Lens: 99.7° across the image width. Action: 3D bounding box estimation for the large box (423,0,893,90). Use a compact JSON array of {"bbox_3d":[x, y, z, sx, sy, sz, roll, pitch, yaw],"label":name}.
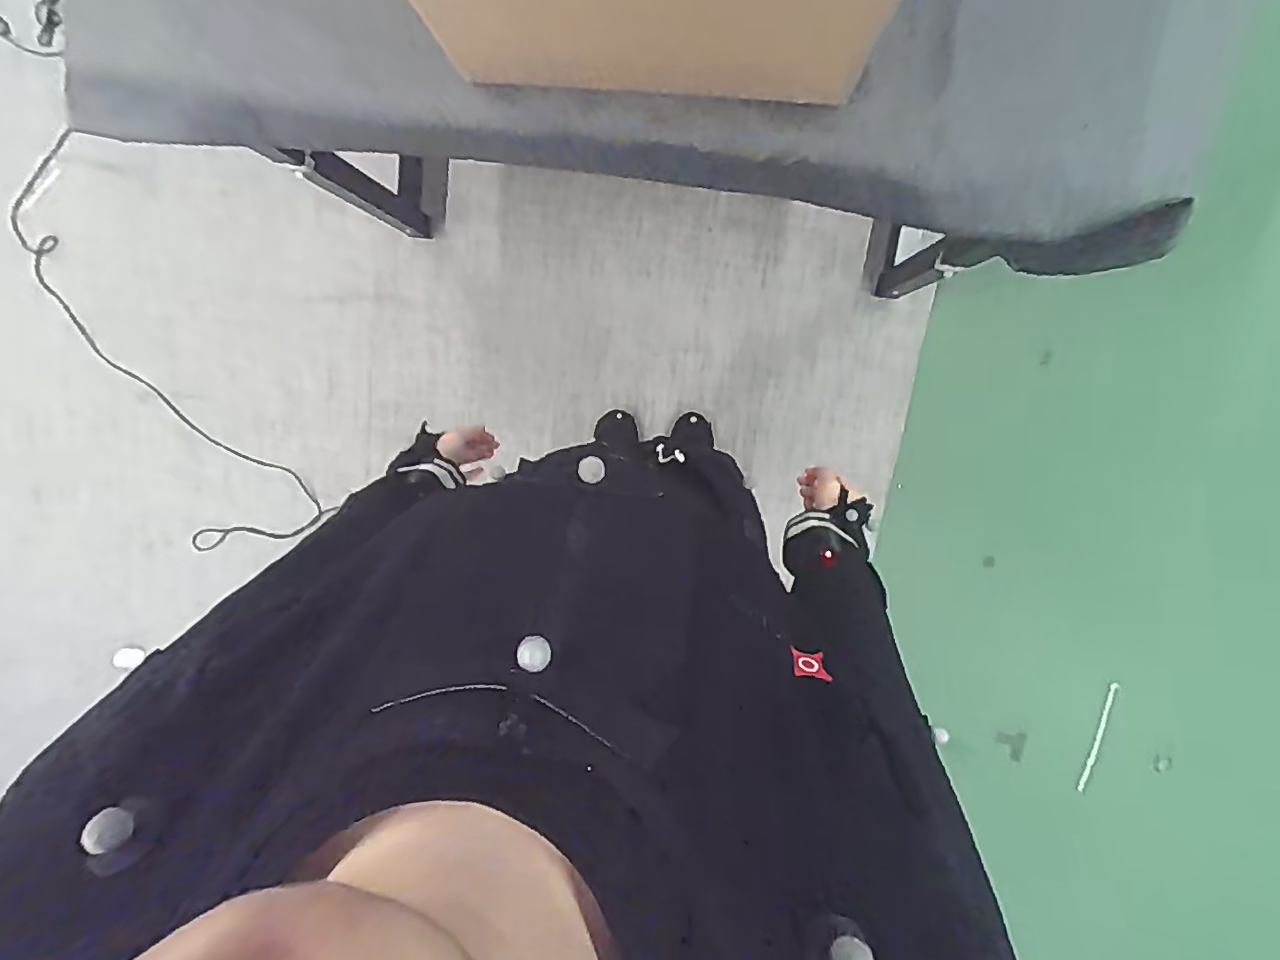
[{"bbox_3d":[0.014,-0.539,0.396,0.408,0.320,0.320,5,99,2],"label":"large box"}]
